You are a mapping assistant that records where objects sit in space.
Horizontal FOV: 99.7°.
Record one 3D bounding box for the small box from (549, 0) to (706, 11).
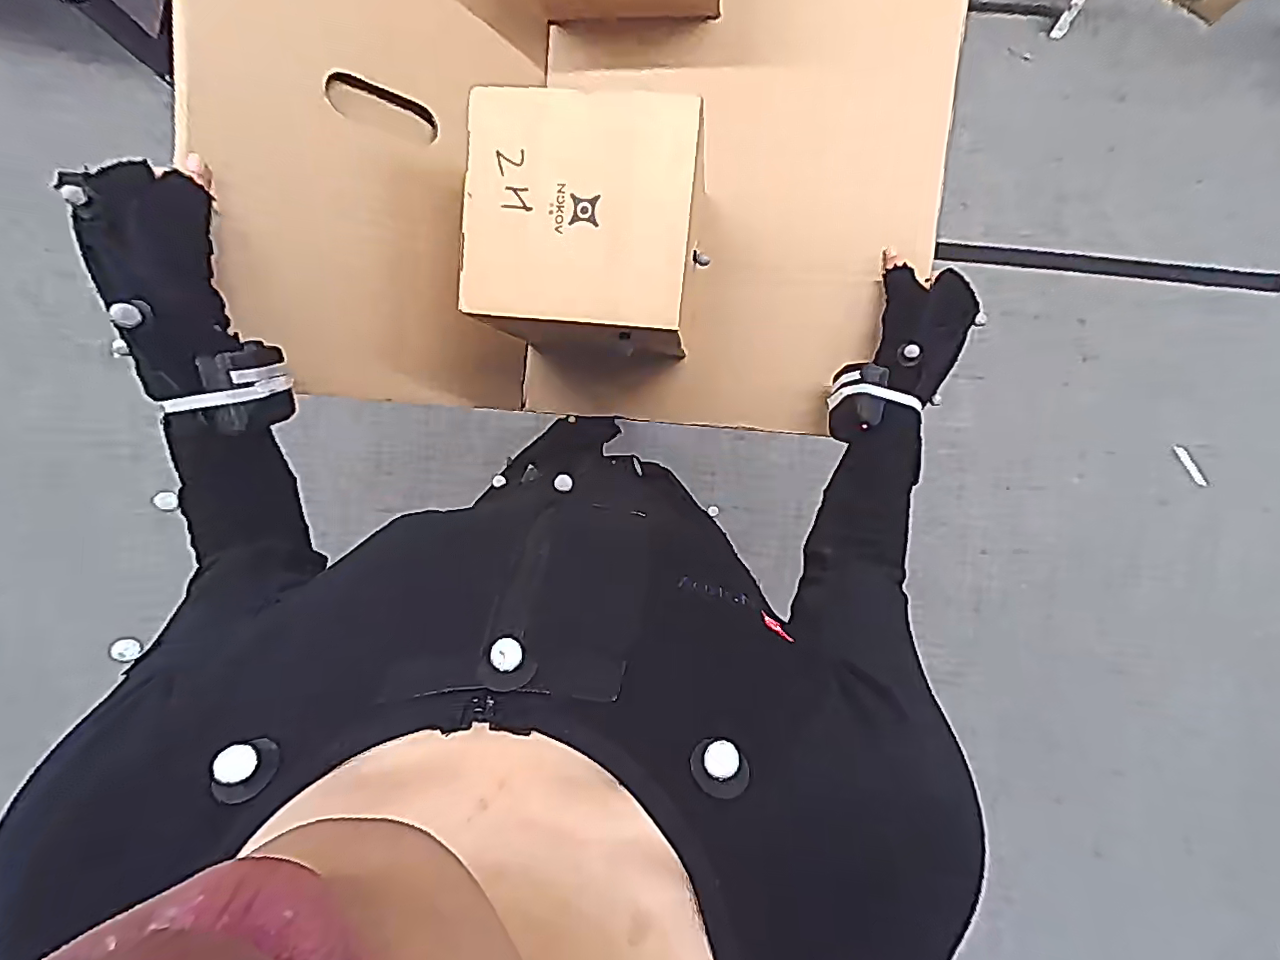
[{"bbox_3d":[-0.014,-0.541,0.454,0.179,0.176,0.168,4,97,6],"label":"small box"}]
